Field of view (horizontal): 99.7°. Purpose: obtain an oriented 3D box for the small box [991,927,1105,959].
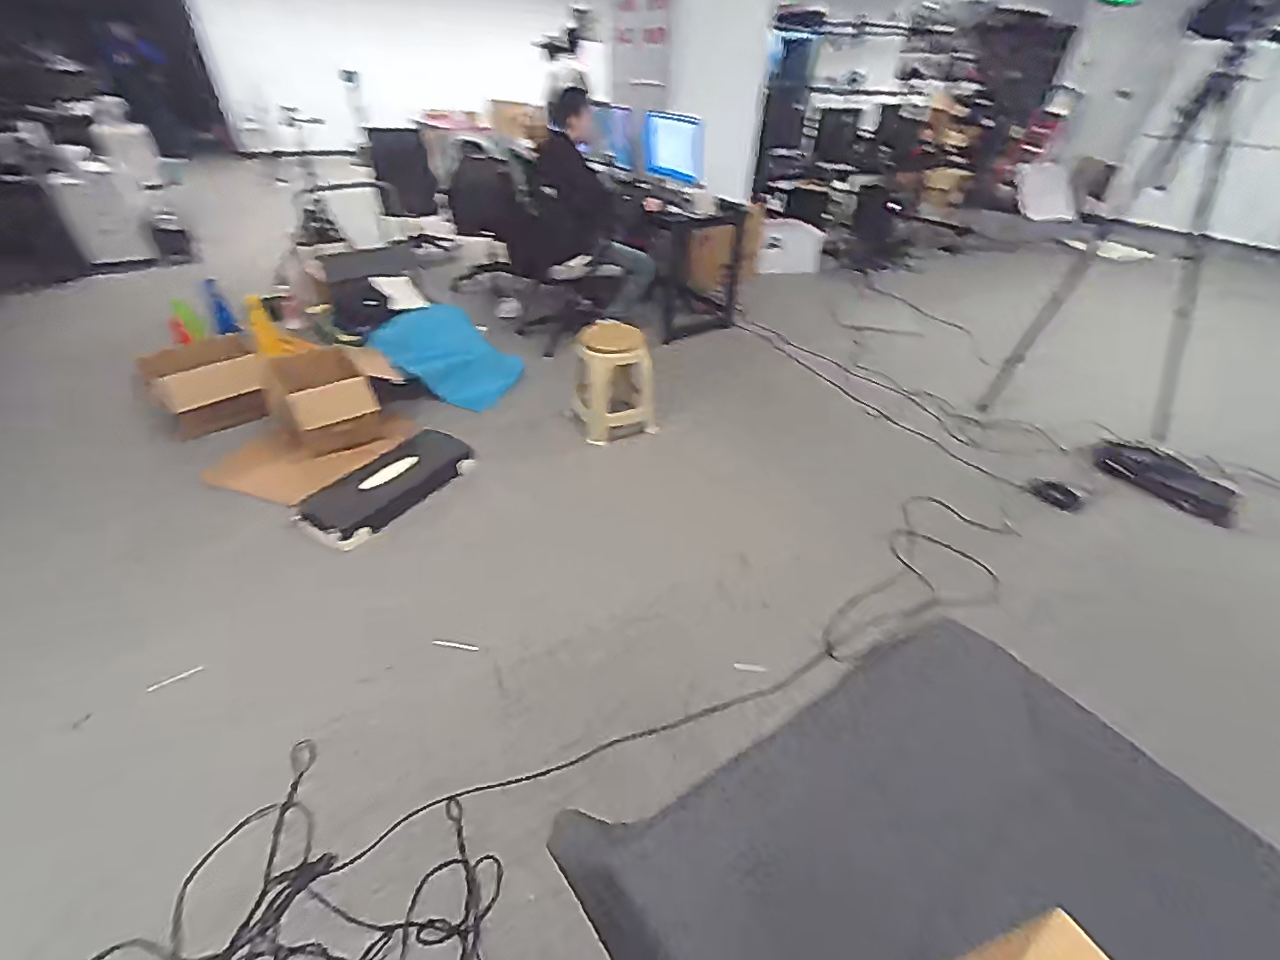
[{"bbox_3d":[0.275,0.458,0.362,0.179,0.176,0.168,-12,45,-31],"label":"small box"}]
